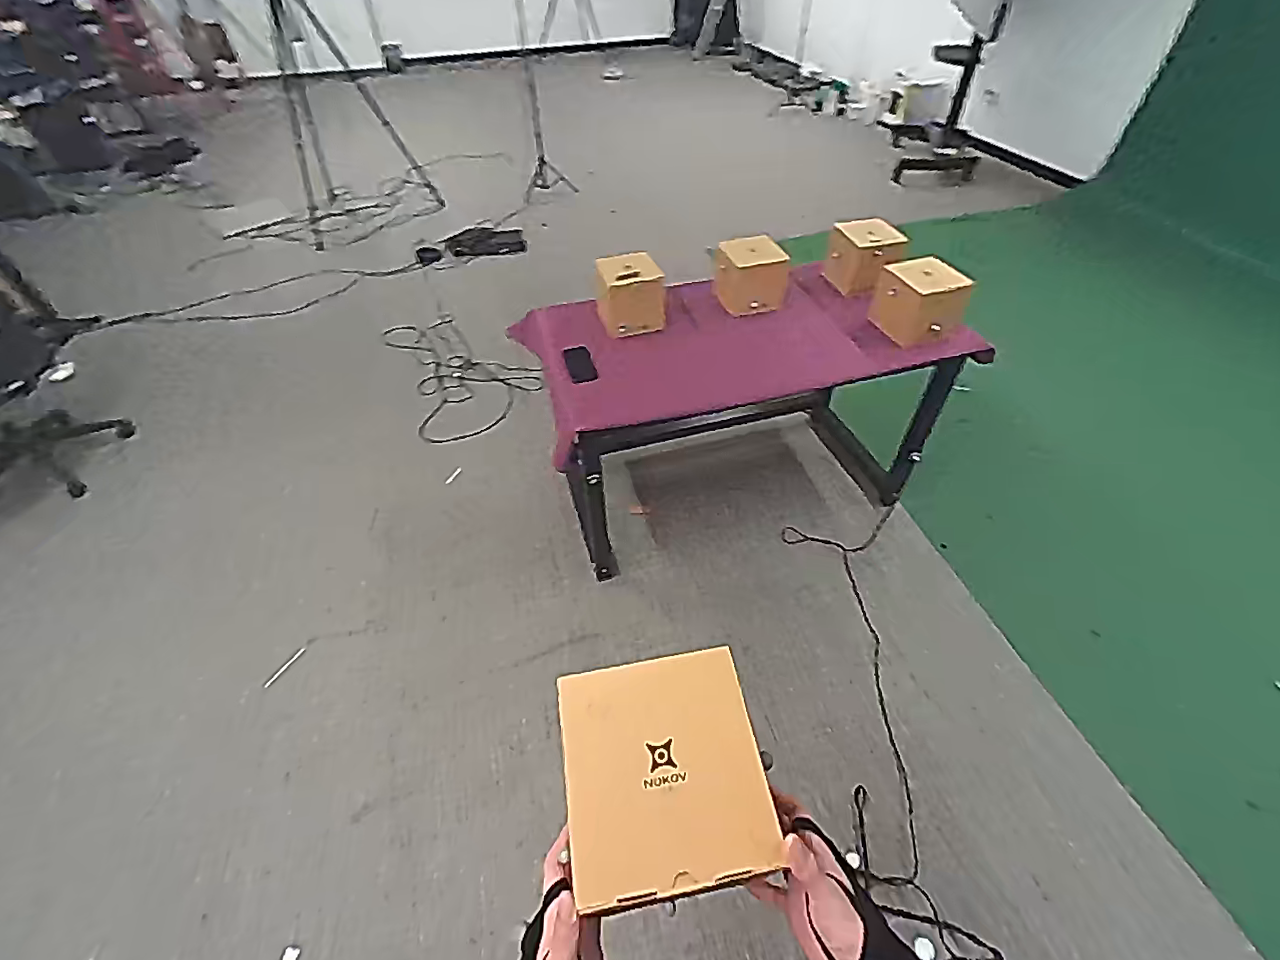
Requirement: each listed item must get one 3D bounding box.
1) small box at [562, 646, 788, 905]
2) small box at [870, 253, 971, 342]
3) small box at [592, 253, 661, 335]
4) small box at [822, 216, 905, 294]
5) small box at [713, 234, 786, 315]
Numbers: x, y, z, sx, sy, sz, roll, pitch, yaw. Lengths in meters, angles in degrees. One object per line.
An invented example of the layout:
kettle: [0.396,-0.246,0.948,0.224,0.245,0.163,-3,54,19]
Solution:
small box: [0.021,0.284,0.516,0.168,0.176,0.179,-9,53,-4]
small box: [0.784,-0.517,1.536,0.168,0.176,0.179,-15,48,-9]
small box: [-0.038,-0.549,1.612,0.168,0.176,0.179,-14,48,-10]
small box: [0.707,-0.723,1.736,0.168,0.176,0.179,-13,47,-8]
small box: [0.331,-0.636,1.677,0.168,0.176,0.179,-13,49,-8]
